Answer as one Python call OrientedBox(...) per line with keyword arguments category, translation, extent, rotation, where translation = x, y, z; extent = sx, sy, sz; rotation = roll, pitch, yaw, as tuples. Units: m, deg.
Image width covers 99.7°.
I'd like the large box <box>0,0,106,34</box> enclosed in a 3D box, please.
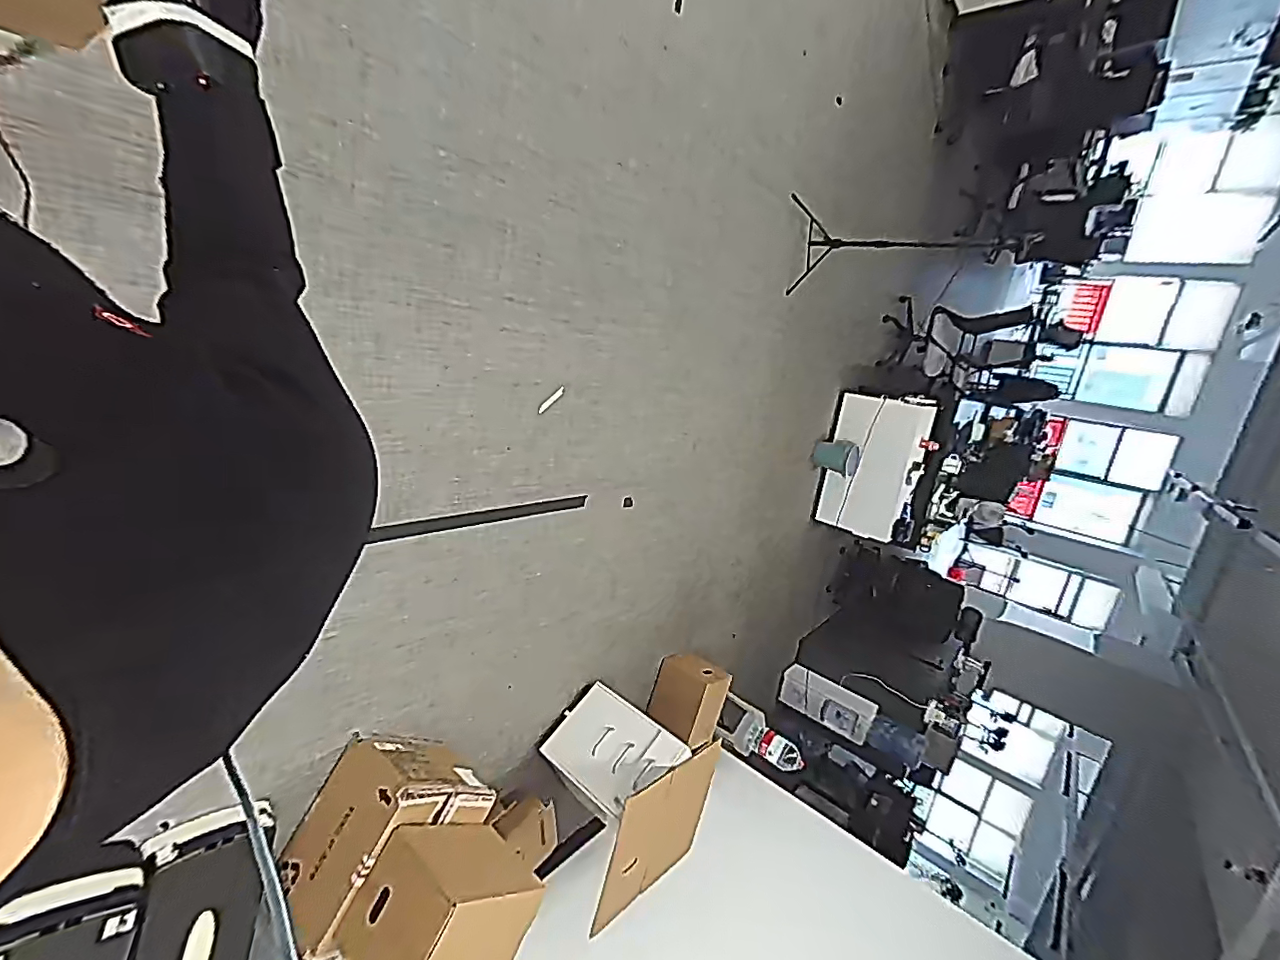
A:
OrientedBox(category="large box", translation=(-0.549, -0.492, 0.247), extent=(0.408, 0.320, 0.320), rotation=(-16, 121, -50))
